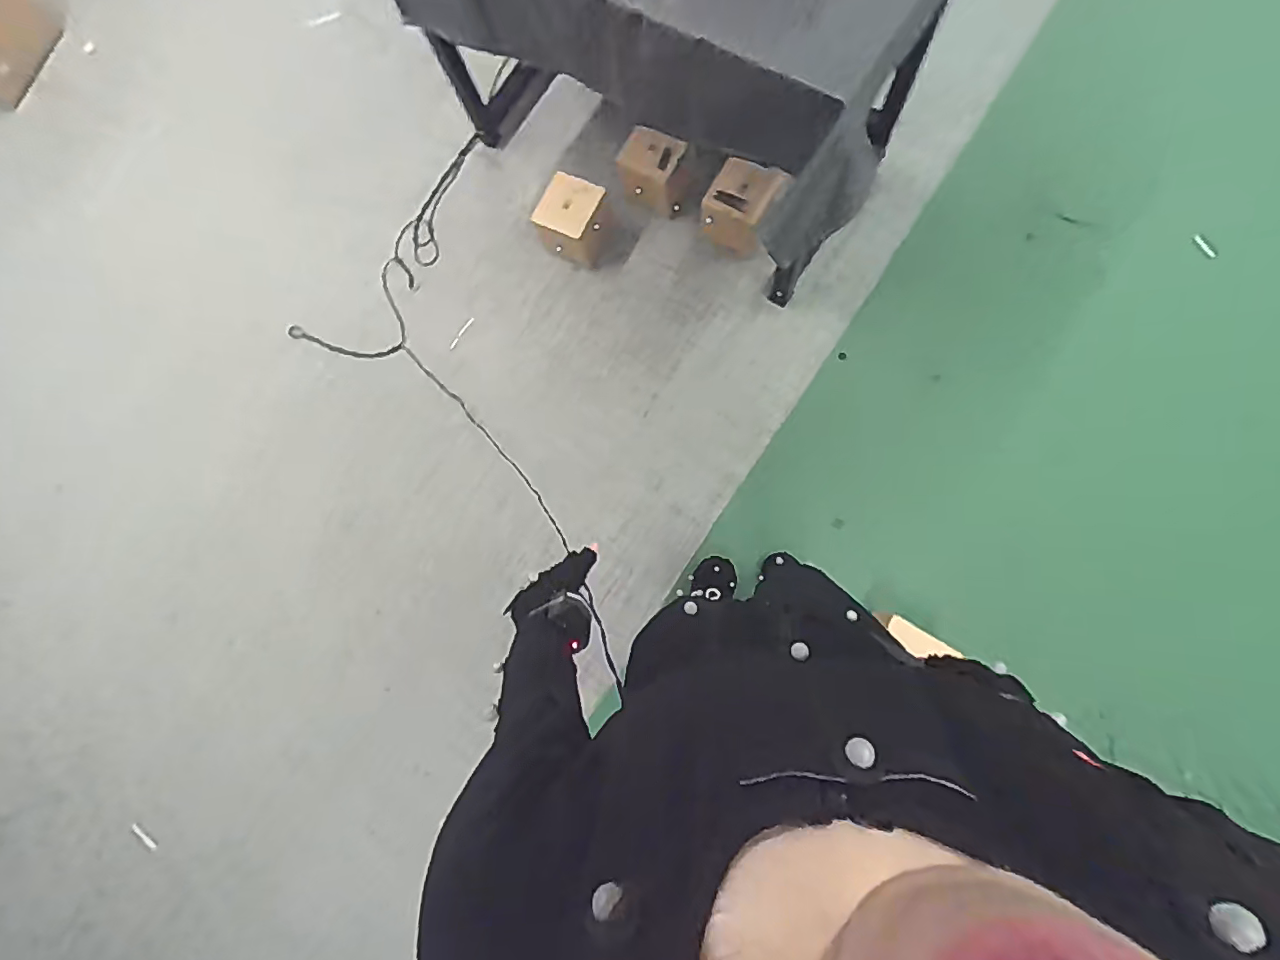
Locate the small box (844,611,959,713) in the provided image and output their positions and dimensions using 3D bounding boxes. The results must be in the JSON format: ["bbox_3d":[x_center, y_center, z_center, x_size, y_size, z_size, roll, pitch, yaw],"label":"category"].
[{"bbox_3d":[0.630,0.437,1.328,0.179,0.176,0.168,32,86,12],"label":"small box"}]

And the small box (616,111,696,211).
[{"bbox_3d":[0.055,-0.942,1.615,0.179,0.176,0.168,32,86,12],"label":"small box"}]
